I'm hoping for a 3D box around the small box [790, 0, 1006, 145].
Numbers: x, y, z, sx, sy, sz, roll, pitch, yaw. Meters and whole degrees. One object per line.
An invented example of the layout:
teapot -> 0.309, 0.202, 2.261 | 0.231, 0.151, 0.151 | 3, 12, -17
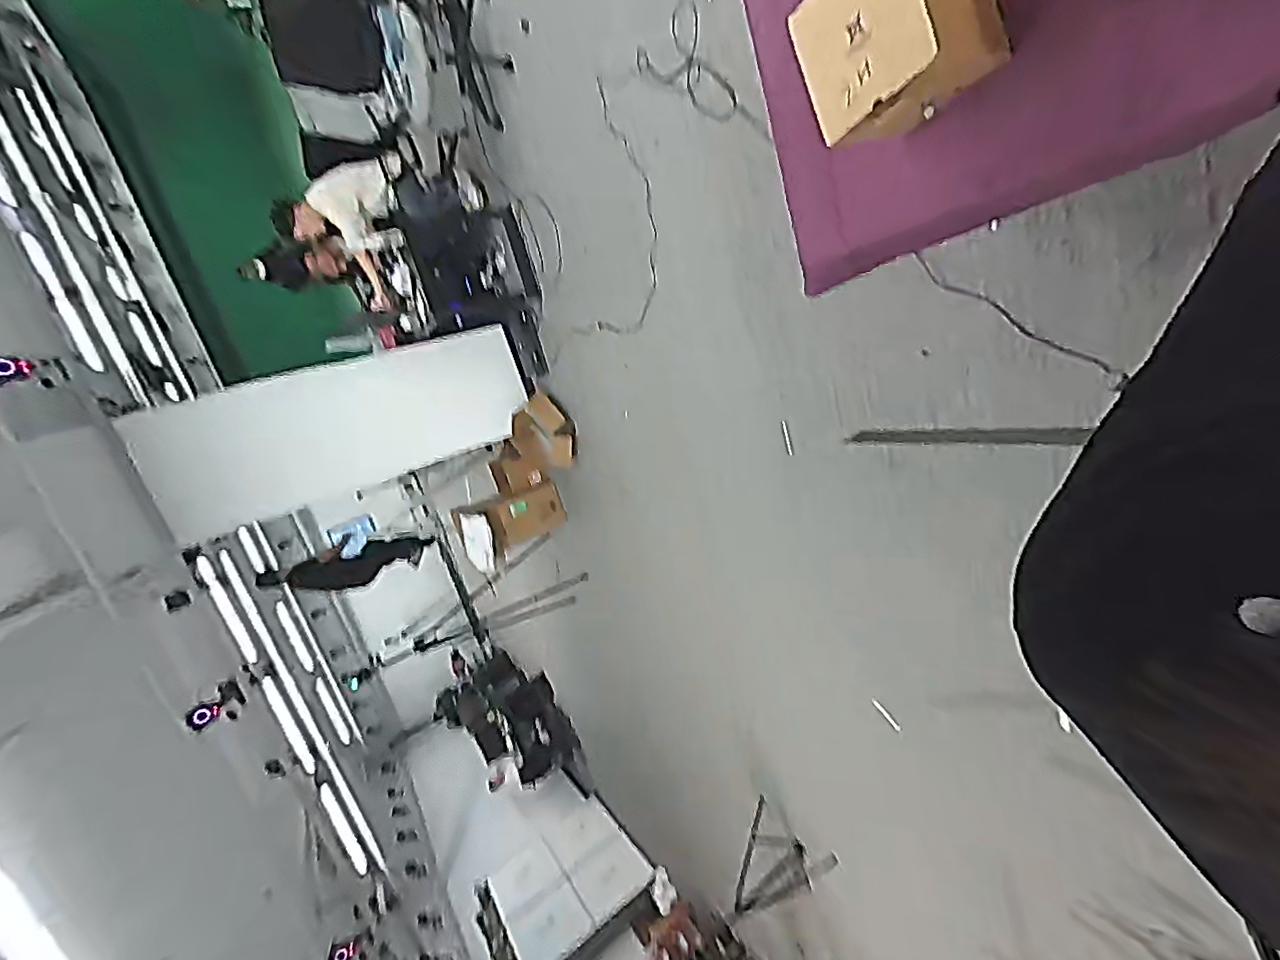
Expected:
small box -> 0.335, -0.575, 0.708 | 0.168, 0.176, 0.179 | -11, 102, 62
